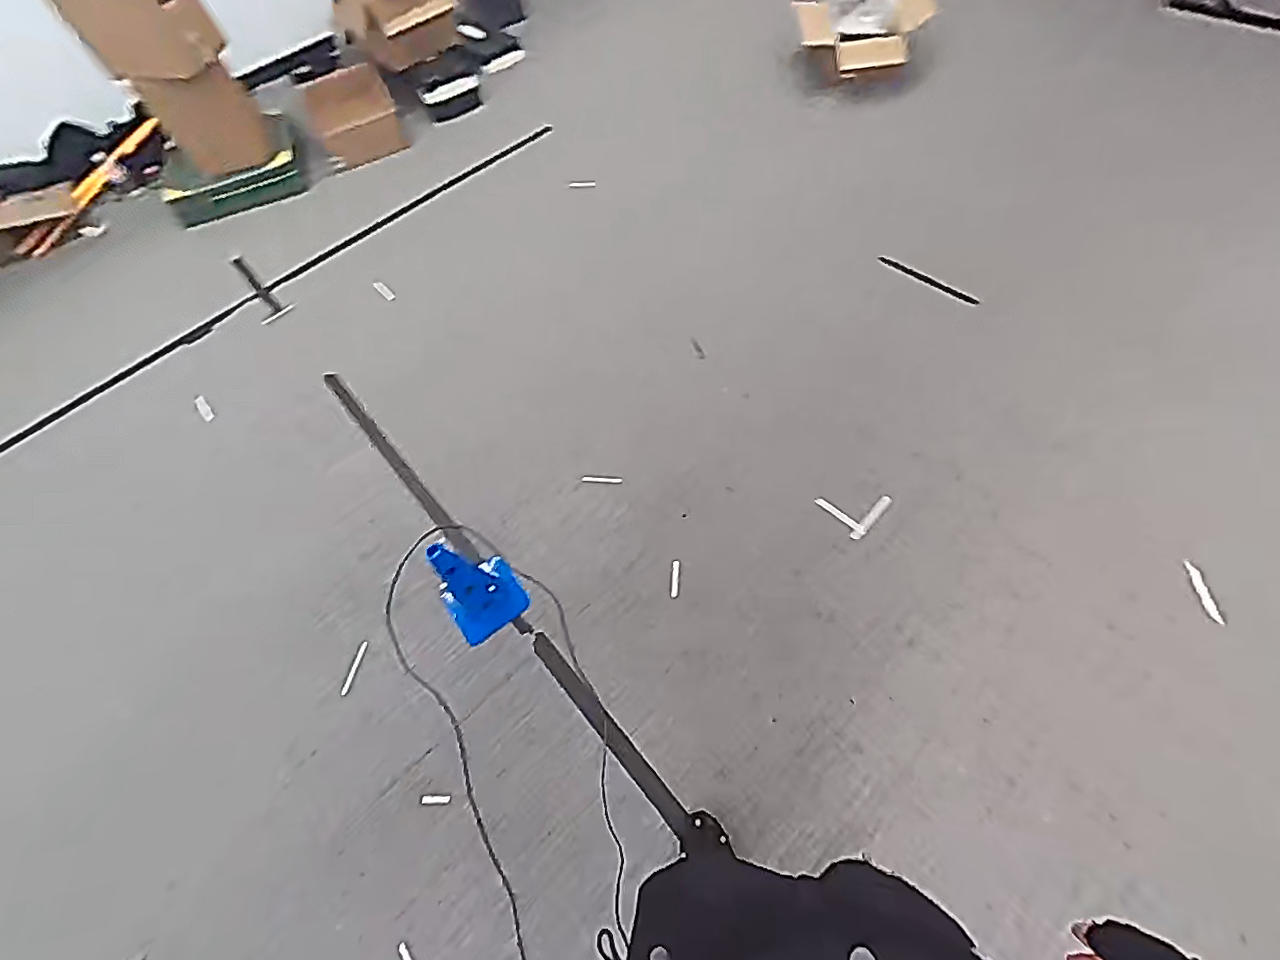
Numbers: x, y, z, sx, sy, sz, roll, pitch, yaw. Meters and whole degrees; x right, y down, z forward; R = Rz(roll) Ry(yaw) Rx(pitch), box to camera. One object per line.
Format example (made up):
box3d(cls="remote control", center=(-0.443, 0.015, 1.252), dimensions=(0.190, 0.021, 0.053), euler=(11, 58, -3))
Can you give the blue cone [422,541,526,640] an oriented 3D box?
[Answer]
box3d(cls="blue cone", center=(-0.446, 0.248, 1.359), dimensions=(0.193, 0.380, 0.192), euler=(-38, 63, -14))
